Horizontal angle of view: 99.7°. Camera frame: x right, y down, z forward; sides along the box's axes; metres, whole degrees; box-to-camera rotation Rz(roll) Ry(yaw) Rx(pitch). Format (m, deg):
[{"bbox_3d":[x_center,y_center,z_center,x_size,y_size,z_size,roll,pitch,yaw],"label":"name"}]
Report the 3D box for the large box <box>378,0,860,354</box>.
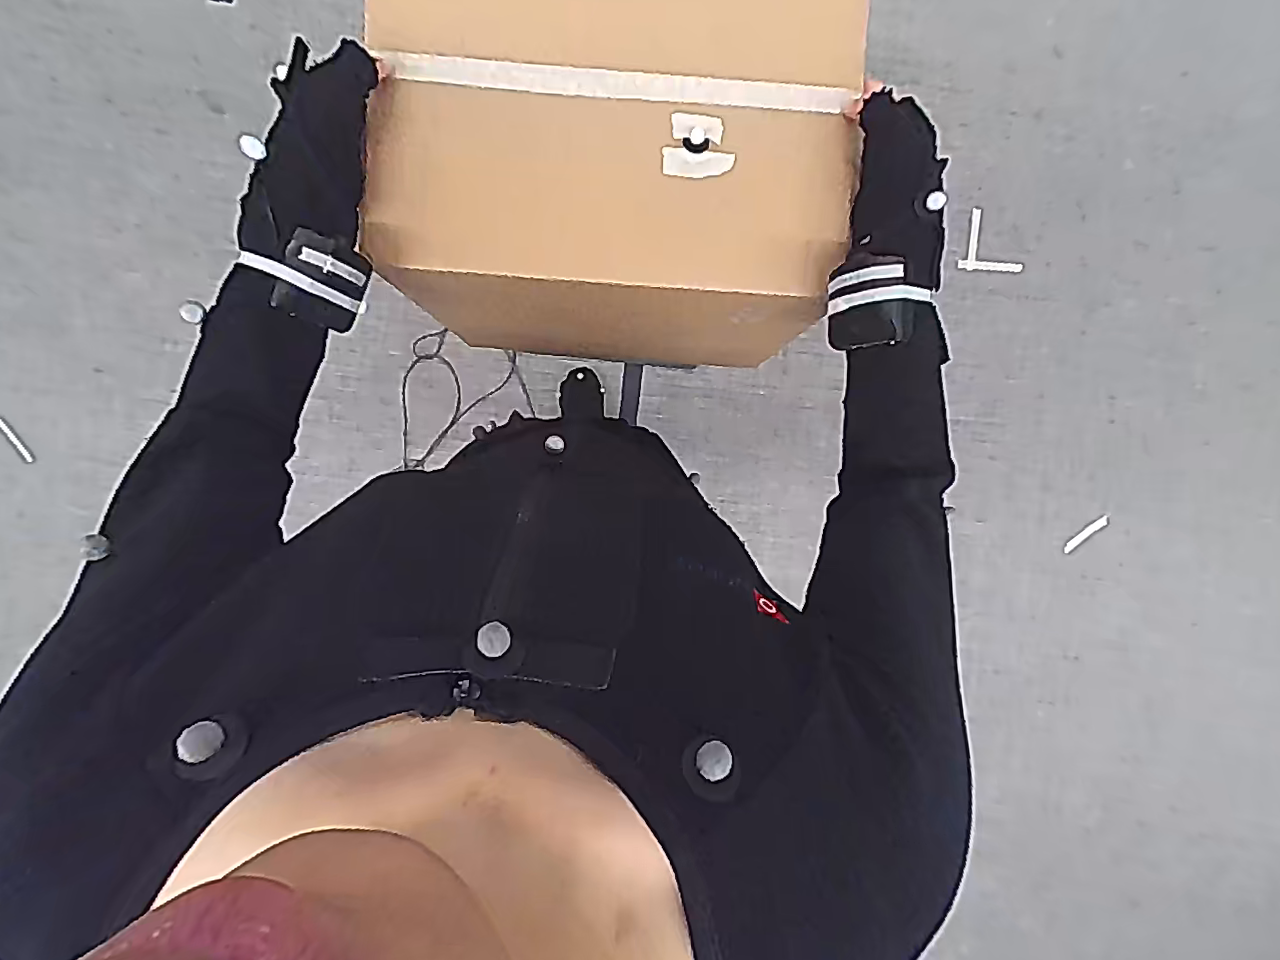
[{"bbox_3d":[-0.021,-0.334,0.603,0.408,0.320,0.320,3,92,-2],"label":"large box"}]
